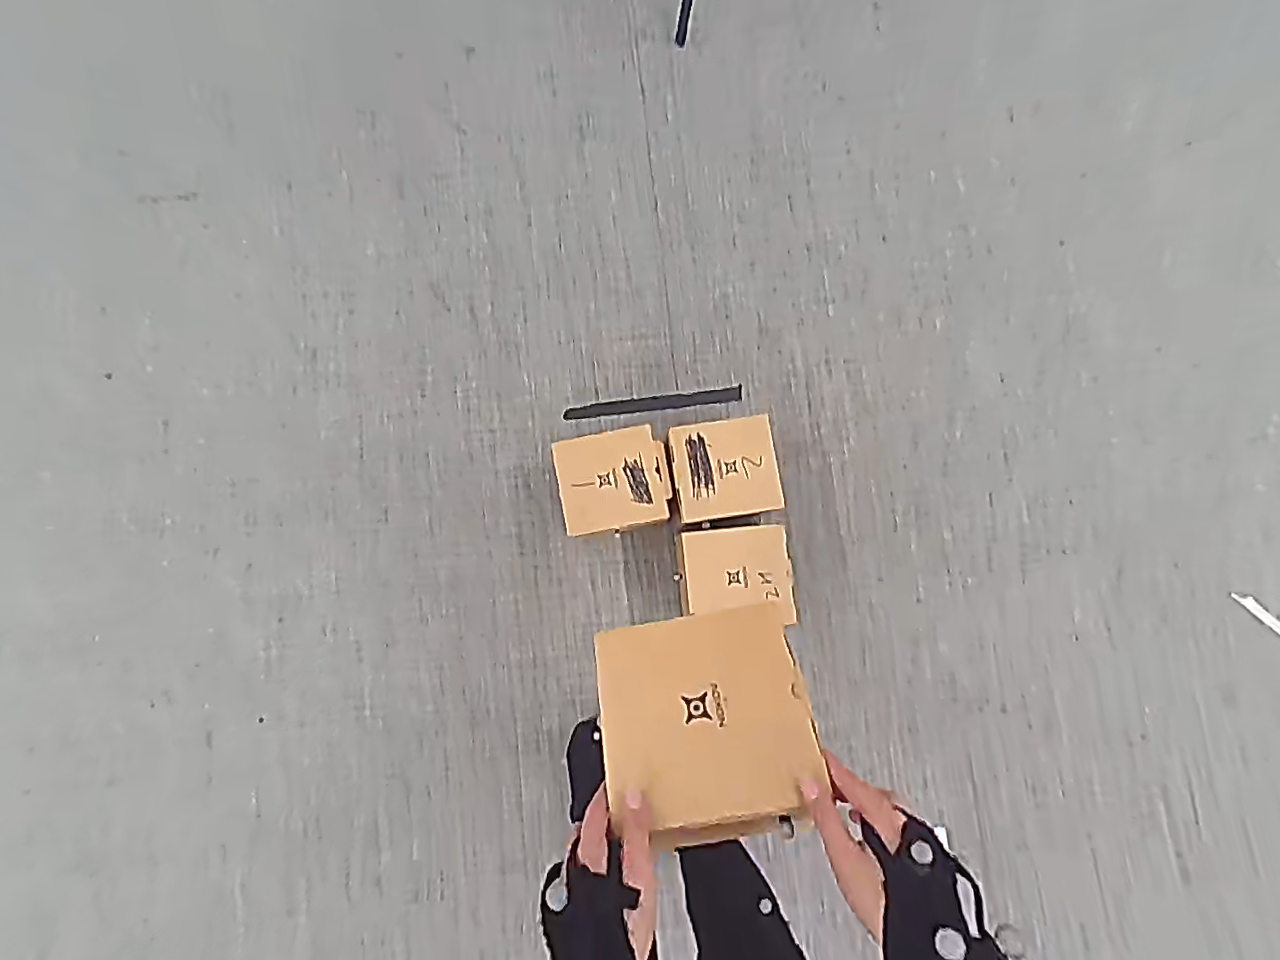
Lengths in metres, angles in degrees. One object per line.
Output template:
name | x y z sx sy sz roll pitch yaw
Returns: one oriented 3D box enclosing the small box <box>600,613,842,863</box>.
small box | 0.068 0.249 0.513 0.179 0.176 0.168 -10 52 1
